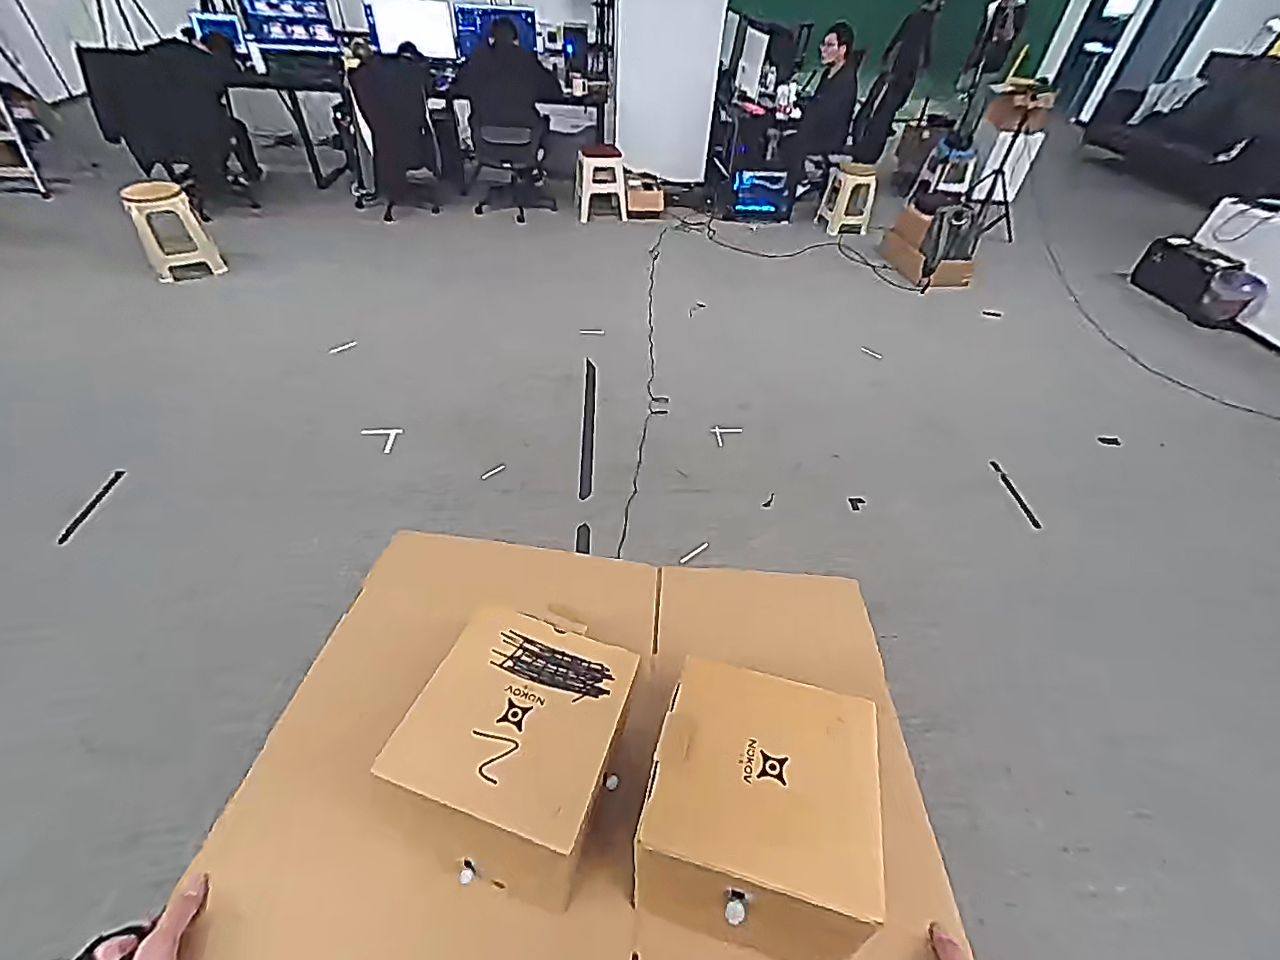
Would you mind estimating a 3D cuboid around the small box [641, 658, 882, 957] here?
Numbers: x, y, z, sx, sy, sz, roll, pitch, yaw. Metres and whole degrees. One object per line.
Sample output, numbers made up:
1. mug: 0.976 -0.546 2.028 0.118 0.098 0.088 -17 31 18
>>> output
1. small box: 0.107 0.299 0.498 0.179 0.176 0.168 10 40 14
